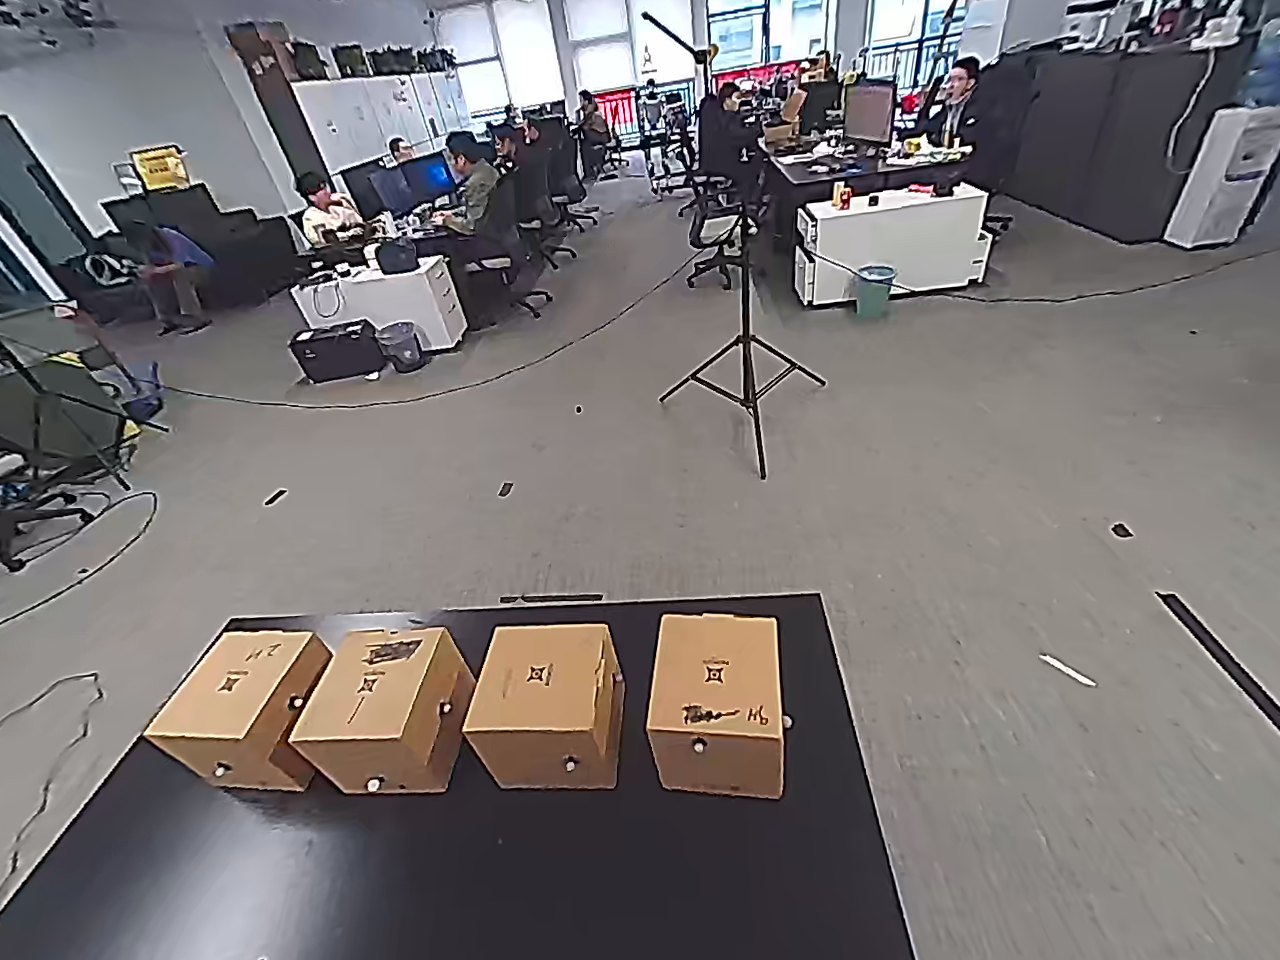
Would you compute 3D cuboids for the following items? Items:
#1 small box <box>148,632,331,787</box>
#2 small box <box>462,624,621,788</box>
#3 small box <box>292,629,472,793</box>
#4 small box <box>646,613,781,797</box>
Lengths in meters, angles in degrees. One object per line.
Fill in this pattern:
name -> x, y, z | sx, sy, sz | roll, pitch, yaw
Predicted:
small box -> -0.596, 0.365, 0.862 | 0.168, 0.176, 0.179 | -2, 38, 9
small box -> -0.129, 0.333, 0.798 | 0.179, 0.176, 0.168 | -5, 36, 8
small box -> -0.375, 0.351, 0.827 | 0.168, 0.176, 0.179 | -5, 39, 6
small box -> 0.110, 0.313, 0.764 | 0.168, 0.176, 0.179 | -1, 37, 12
